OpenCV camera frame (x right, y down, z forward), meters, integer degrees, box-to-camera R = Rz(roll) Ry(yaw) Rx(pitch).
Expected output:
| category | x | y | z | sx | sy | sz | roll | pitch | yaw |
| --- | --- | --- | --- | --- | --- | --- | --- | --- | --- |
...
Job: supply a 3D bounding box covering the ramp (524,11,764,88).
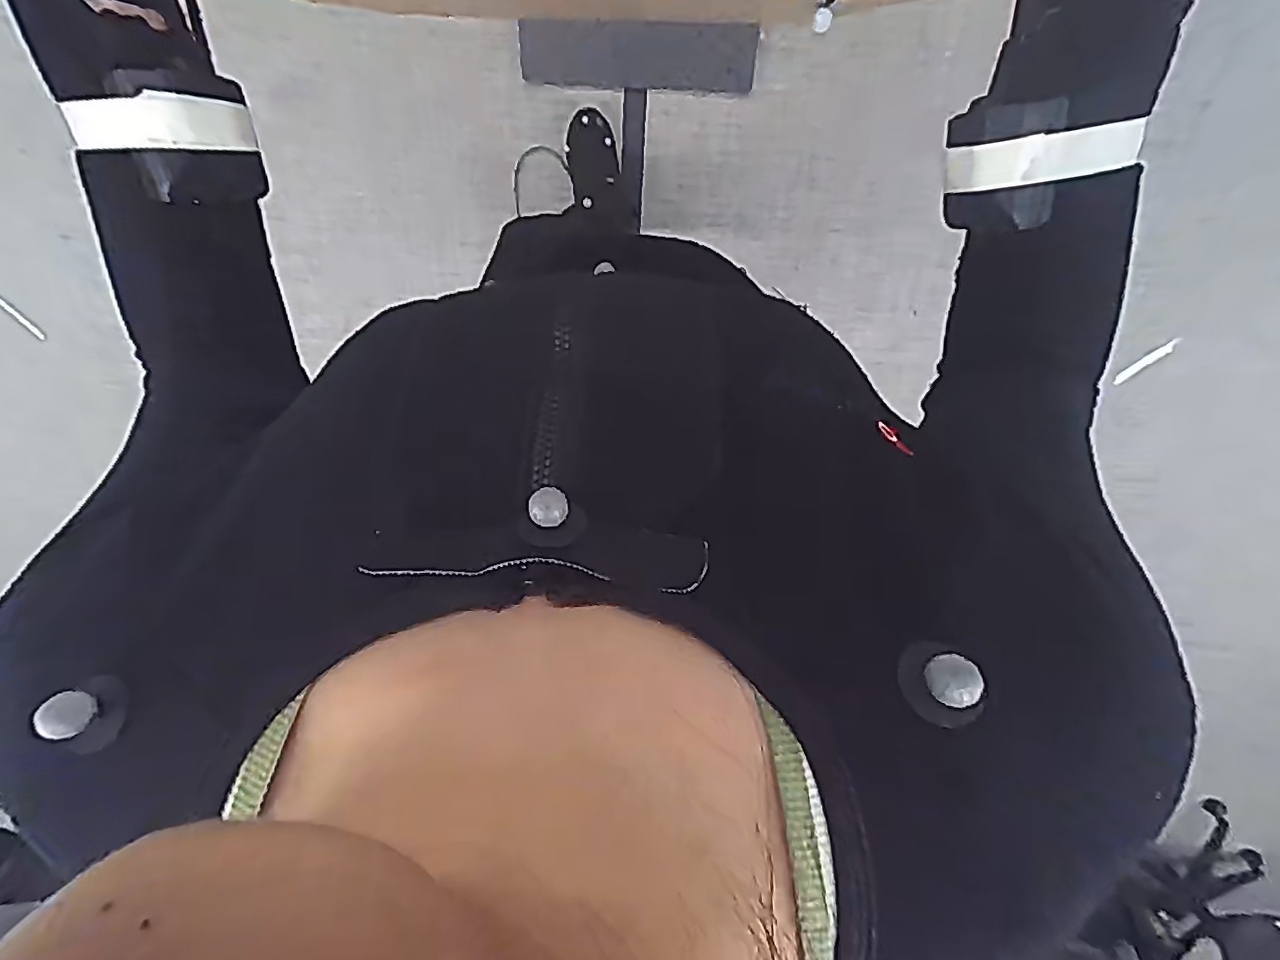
| category | x | y | z | sx | sy | sz | roll | pitch | yaw |
| --- | --- | --- | --- | --- | --- | --- | --- | --- | --- |
| ramp | 0.020 | -1.256 | 0.871 | 0.509 | 0.206 | 0.991 | 1 | 116 | 1 |
